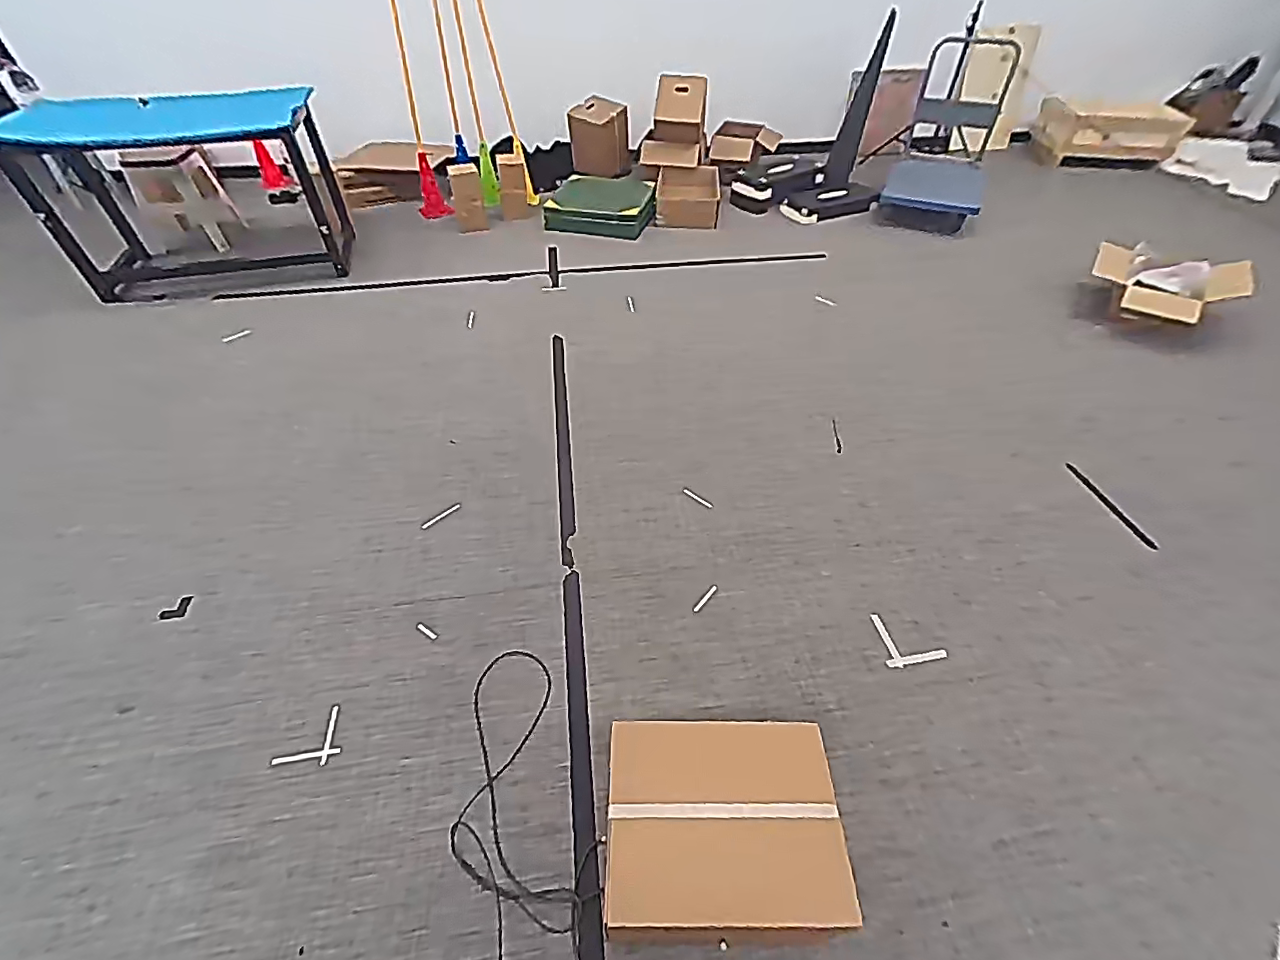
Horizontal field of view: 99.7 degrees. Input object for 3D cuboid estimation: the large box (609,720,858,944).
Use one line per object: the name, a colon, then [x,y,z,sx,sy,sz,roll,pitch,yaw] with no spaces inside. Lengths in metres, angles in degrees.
large box: [0.143,0.688,1.059,0.408,0.320,0.320,1,46,-1]
